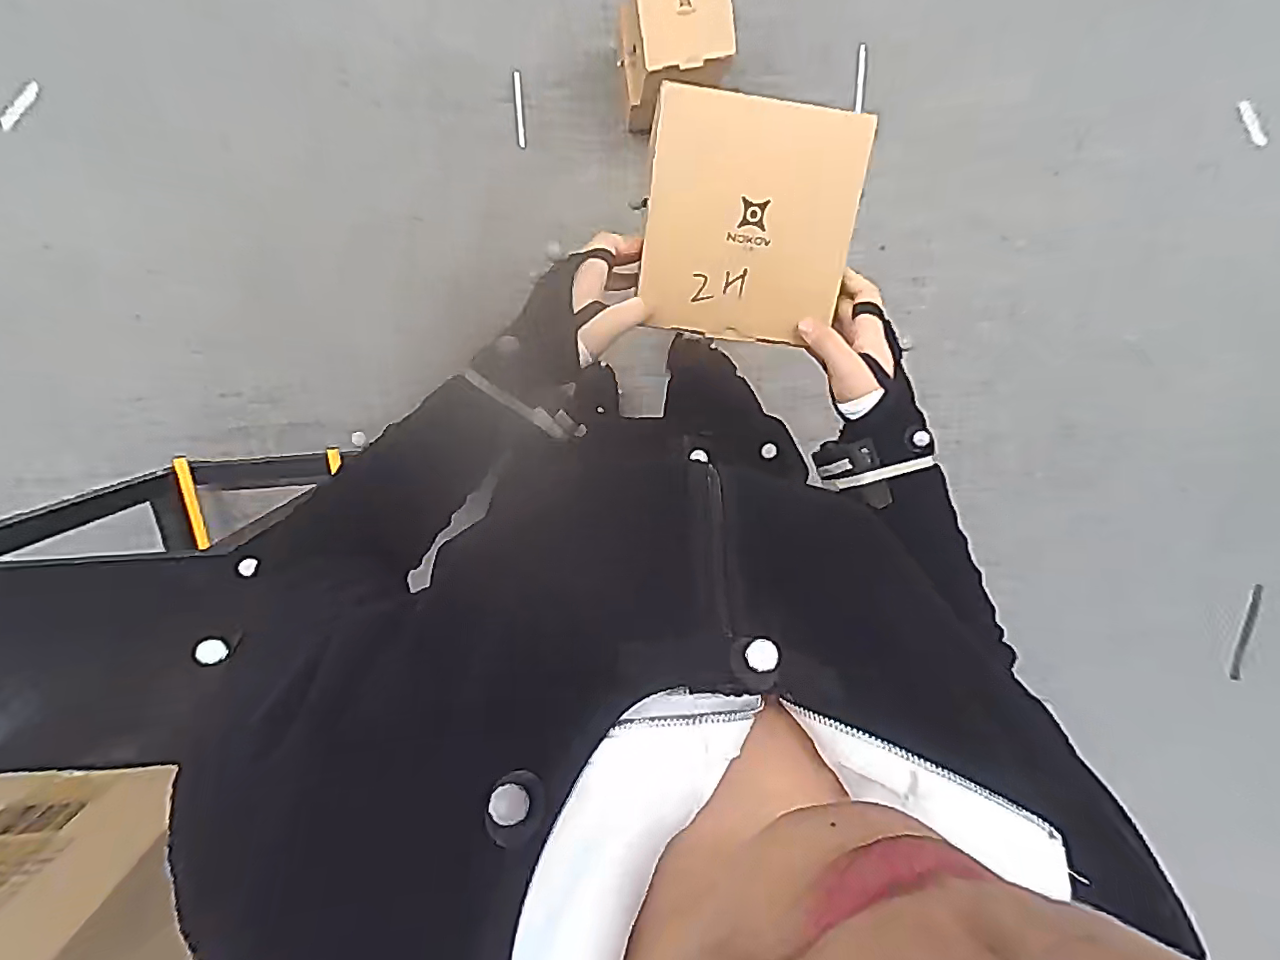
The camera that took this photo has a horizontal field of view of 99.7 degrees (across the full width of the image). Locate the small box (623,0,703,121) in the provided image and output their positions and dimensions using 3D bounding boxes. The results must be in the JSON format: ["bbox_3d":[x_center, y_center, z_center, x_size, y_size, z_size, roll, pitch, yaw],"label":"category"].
[{"bbox_3d":[0.060,-0.857,1.085,0.168,0.176,0.179,-9,108,-1],"label":"small box"}]

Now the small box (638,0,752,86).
[{"bbox_3d":[0.088,-0.811,0.929,0.168,0.176,0.179,-10,107,0],"label":"small box"}]

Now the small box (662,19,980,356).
[{"bbox_3d":[0.111,-0.202,0.420,0.168,0.176,0.179,6,109,-4],"label":"small box"}]
